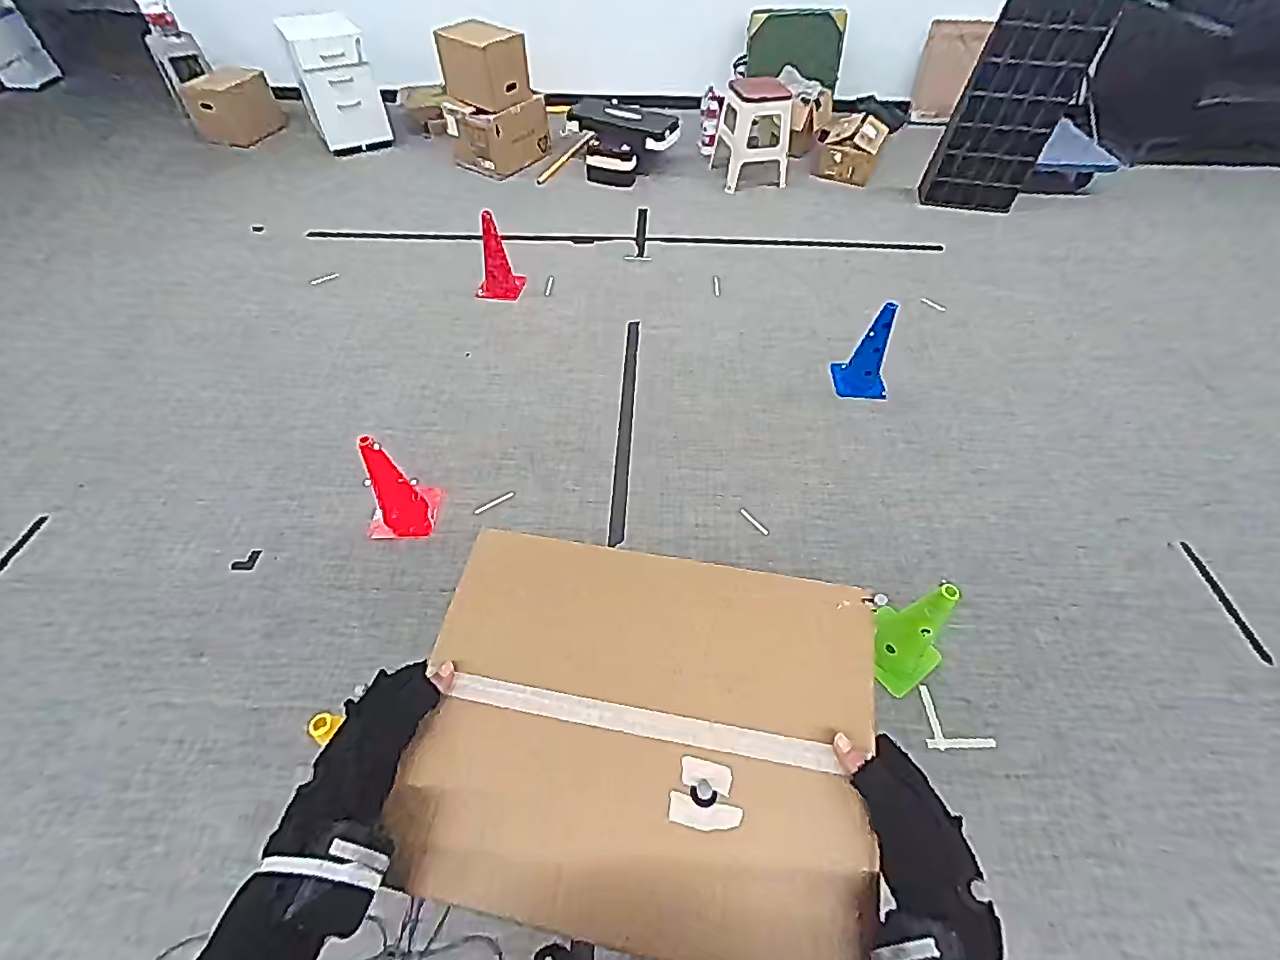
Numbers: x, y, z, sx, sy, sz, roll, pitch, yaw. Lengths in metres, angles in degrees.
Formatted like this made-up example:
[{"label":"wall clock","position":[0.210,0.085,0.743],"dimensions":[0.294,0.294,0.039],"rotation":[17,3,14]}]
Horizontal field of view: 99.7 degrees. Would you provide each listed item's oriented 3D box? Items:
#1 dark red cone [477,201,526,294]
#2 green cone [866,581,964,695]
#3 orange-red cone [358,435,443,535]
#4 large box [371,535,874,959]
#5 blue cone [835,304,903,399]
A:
[{"label":"dark red cone","position":[-0.643,-1.039,2.411],"dimensions":[0.201,0.394,0.202],"rotation":[7,52,3]},{"label":"green cone","position":[0.711,0.363,1.370],"dimensions":[0.202,0.368,0.200],"rotation":[-28,58,-23]},{"label":"orange-red cone","position":[-0.758,-0.005,1.631],"dimensions":[0.198,0.360,0.199],"rotation":[0,53,0]},{"label":"large box","position":[0.006,0.289,0.614],"dimensions":[0.408,0.320,0.320],"rotation":[8,61,8]},{"label":"blue cone","position":[0.903,-0.503,2.073],"dimensions":[0.192,0.380,0.193],"rotation":[5,52,2]}]
